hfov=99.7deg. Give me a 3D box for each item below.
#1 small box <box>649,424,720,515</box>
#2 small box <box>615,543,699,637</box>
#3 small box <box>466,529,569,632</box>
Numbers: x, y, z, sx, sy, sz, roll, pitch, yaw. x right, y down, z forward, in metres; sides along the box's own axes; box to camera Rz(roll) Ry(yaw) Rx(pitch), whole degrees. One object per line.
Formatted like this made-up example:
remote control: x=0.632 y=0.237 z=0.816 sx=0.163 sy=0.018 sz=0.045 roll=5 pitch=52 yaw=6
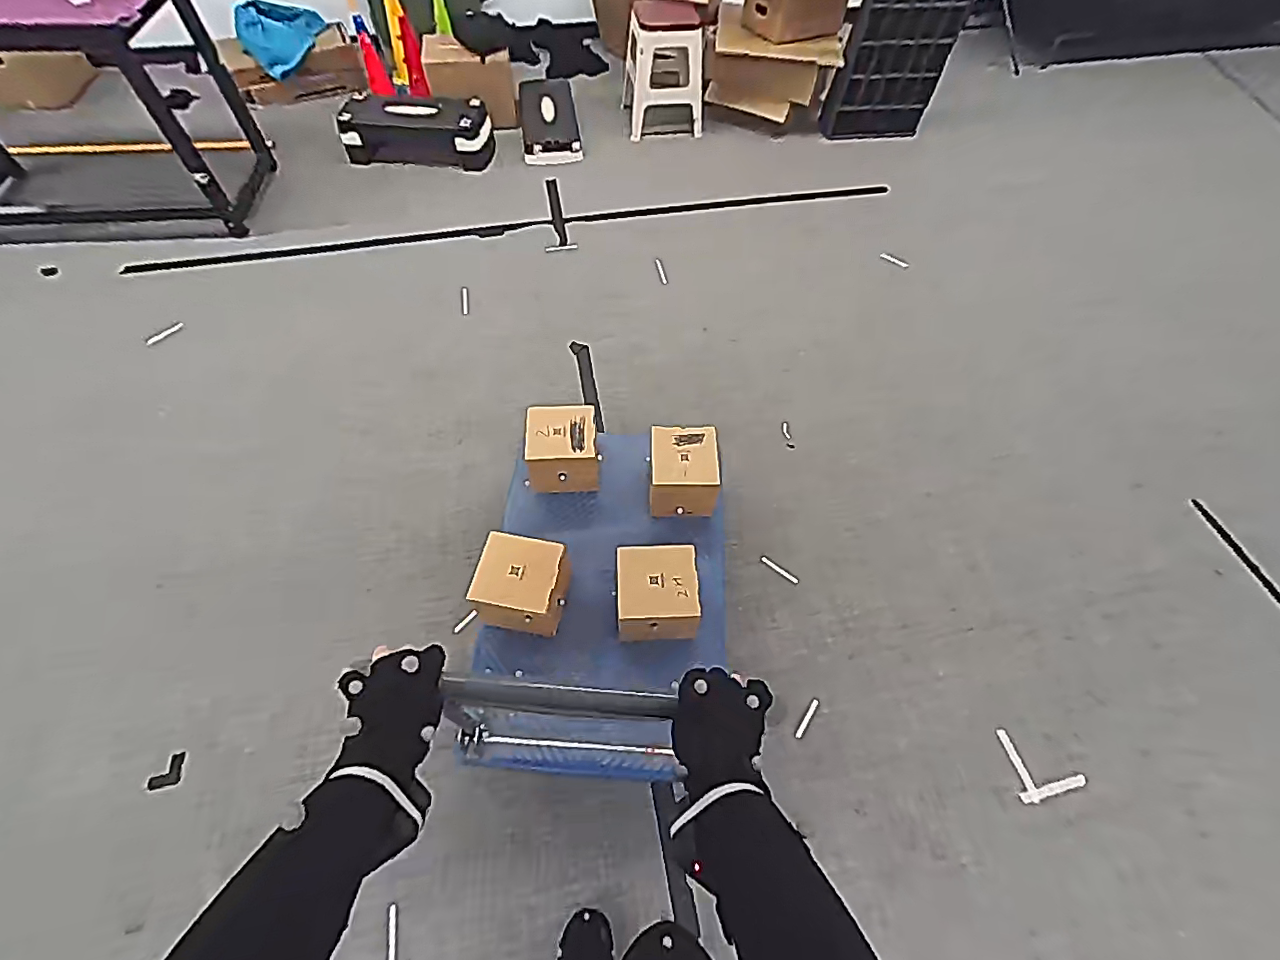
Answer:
small box: x=0.108 y=-0.026 z=1.404 sx=0.168 sy=0.176 sz=0.179 roll=1 pitch=59 yaw=-1
small box: x=0.035 y=0.254 z=1.231 sx=0.179 sy=0.176 sz=0.168 roll=-1 pitch=59 yaw=-2
small box: x=-0.269 y=0.234 z=1.236 sx=0.179 sy=0.176 sz=0.168 roll=10 pitch=58 yaw=3
